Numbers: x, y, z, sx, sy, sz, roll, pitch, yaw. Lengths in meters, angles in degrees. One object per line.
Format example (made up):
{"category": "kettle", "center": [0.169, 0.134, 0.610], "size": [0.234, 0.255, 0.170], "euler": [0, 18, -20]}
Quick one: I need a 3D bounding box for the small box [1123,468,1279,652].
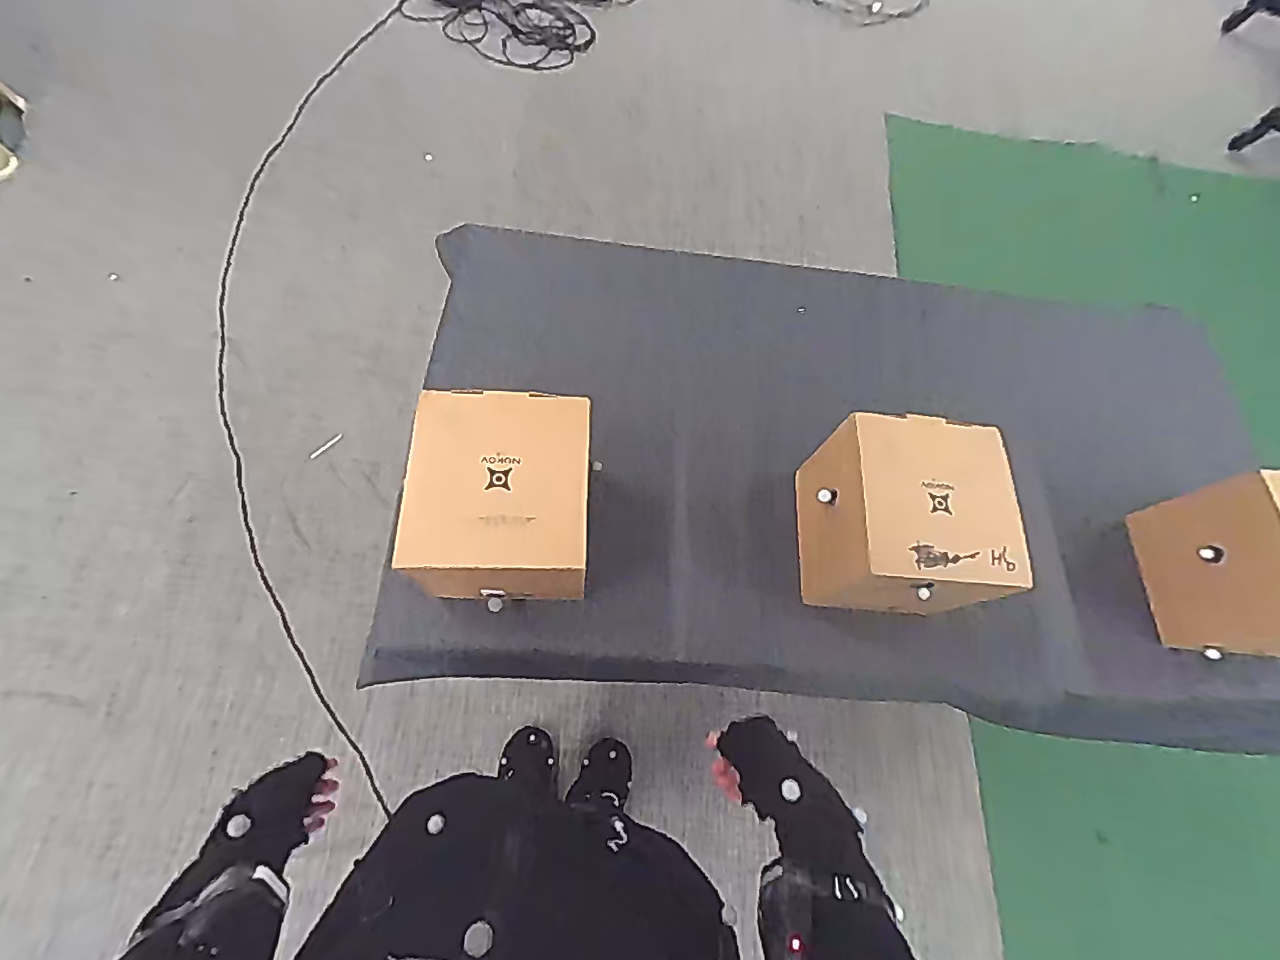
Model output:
{"category": "small box", "center": [0.744, 0.105, 0.644], "size": [0.168, 0.176, 0.179], "euler": [6, 66, -4]}

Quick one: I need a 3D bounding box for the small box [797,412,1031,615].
{"category": "small box", "center": [0.288, 0.046, 0.615], "size": [0.168, 0.176, 0.179], "euler": [6, 67, -5]}

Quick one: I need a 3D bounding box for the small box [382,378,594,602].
{"category": "small box", "center": [-0.136, 0.019, 0.552], "size": [0.168, 0.176, 0.179], "euler": [3, 68, -4]}
